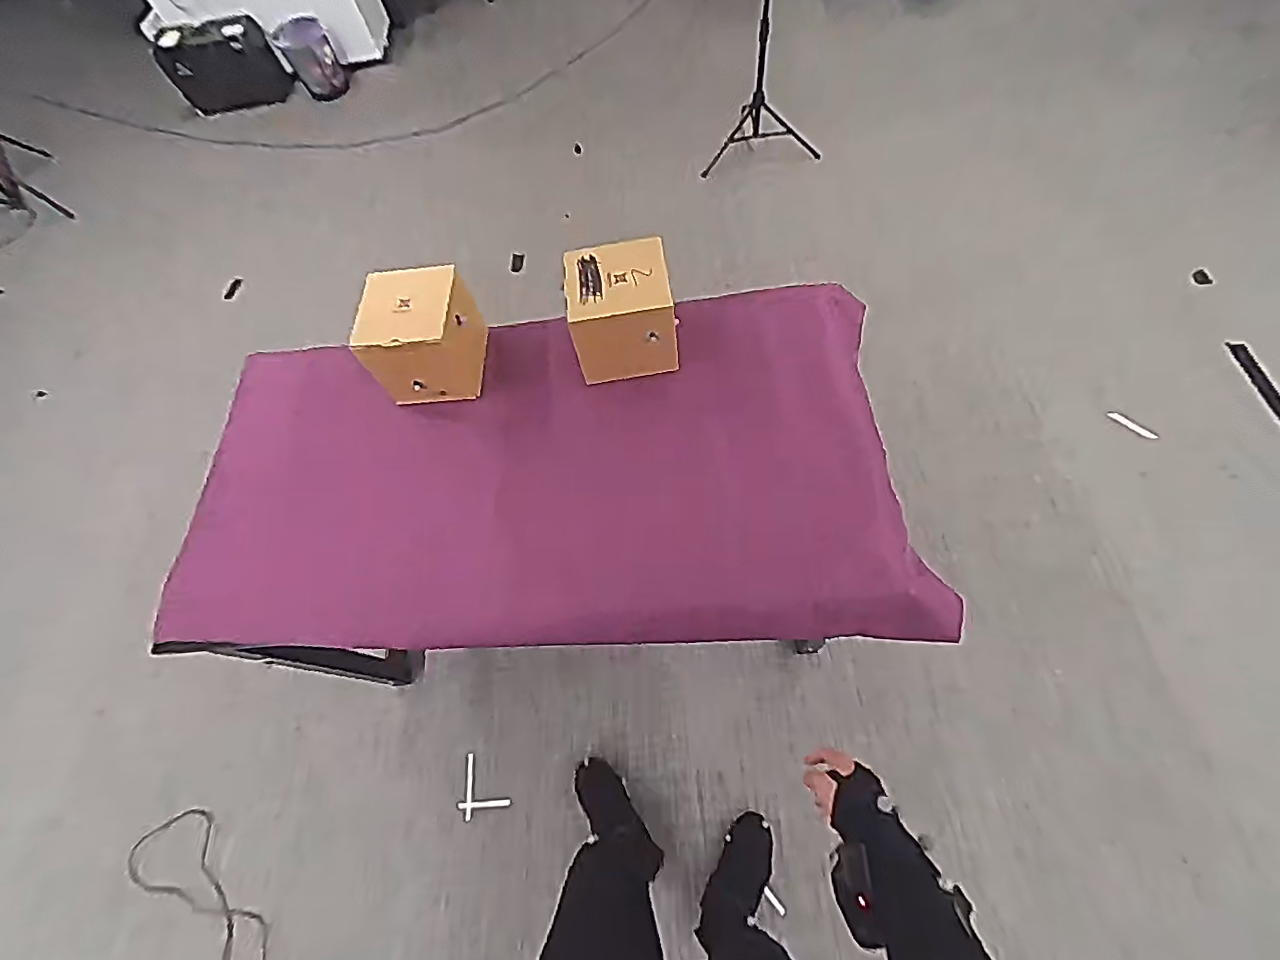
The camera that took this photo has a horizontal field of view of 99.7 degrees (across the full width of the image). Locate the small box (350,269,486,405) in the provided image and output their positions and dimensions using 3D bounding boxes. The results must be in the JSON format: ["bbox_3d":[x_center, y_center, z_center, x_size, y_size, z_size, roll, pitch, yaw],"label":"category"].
[{"bbox_3d":[-0.399,-0.261,1.007,0.168,0.176,0.179,-4,64,5],"label":"small box"}]
